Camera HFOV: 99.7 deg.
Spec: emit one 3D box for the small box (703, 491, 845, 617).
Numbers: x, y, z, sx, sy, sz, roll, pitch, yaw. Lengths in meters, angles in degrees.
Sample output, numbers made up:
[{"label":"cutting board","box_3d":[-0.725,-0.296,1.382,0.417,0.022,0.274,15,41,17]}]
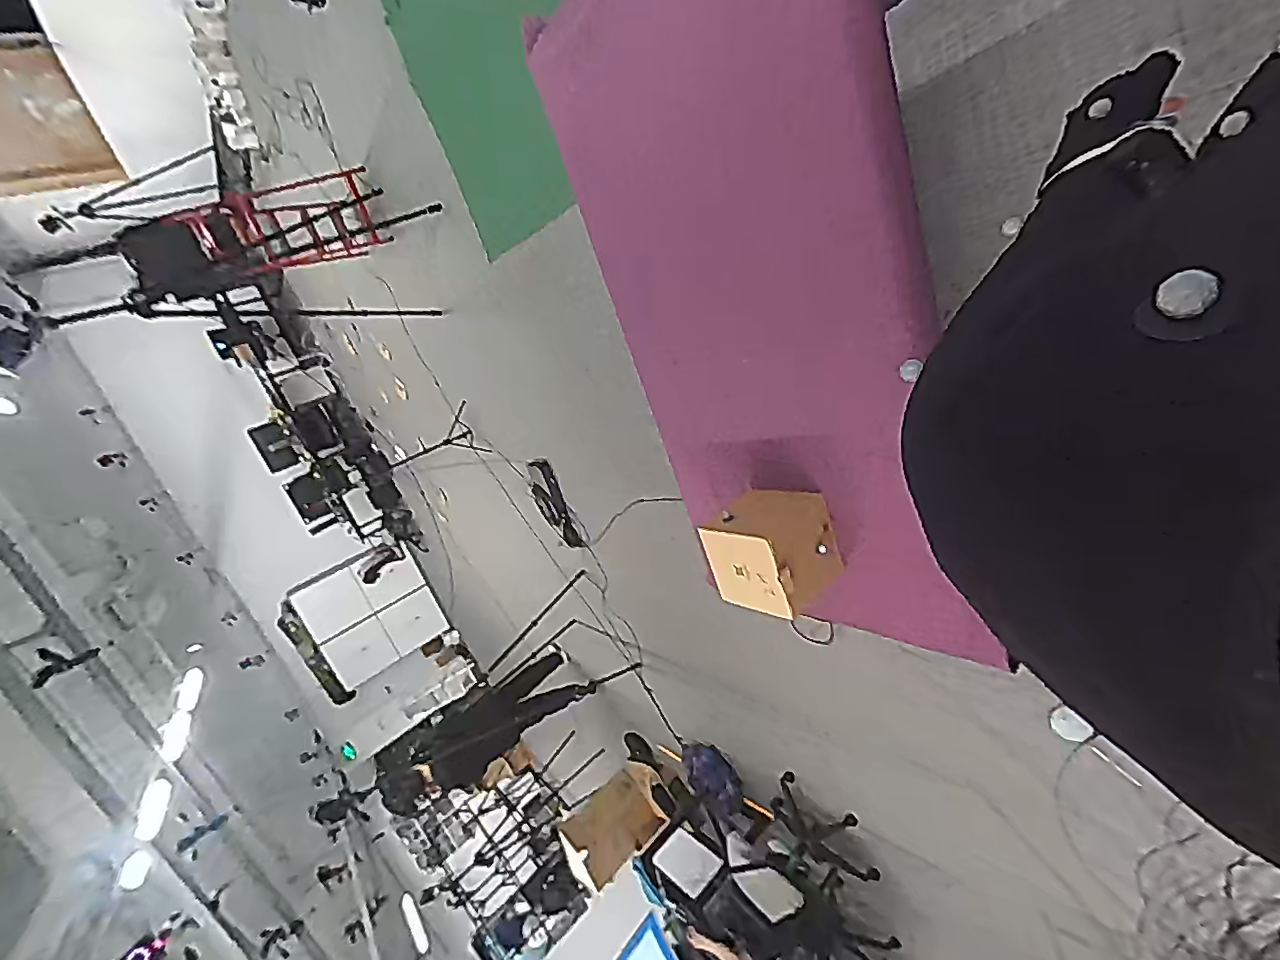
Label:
[{"label":"small box","box_3d":[0.255,0.129,1.025,0.179,0.176,0.168,3,118,53]}]
